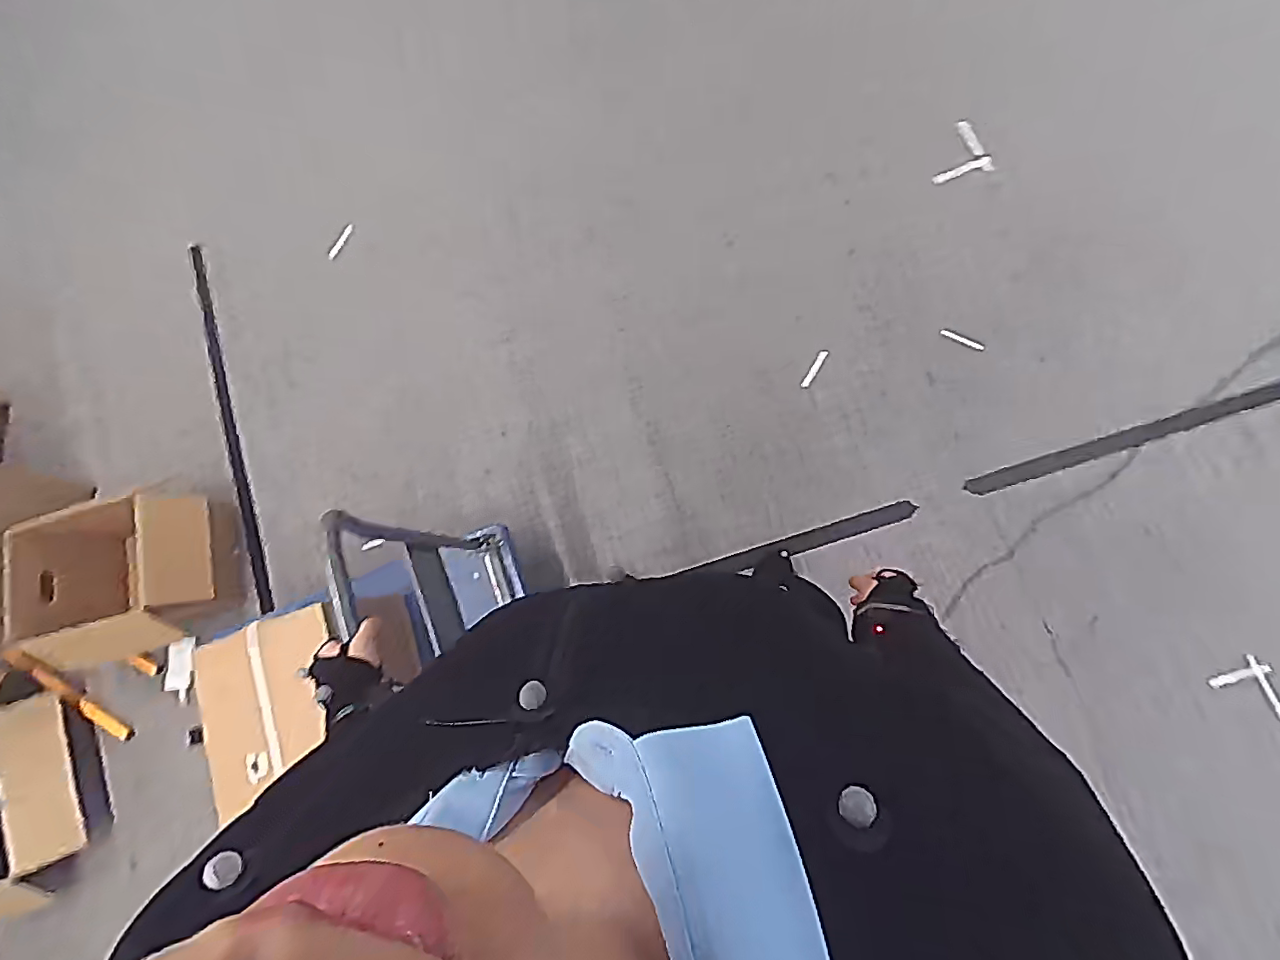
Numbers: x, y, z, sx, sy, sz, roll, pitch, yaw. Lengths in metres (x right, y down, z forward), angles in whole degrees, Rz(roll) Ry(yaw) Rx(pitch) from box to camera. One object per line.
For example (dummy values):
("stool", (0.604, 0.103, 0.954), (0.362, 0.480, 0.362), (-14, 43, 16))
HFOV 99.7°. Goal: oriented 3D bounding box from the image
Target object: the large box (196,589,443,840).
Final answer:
("large box", (-0.709, 0.499, 1.240), (0.320, 0.320, 0.408), (-21, 80, 5))
